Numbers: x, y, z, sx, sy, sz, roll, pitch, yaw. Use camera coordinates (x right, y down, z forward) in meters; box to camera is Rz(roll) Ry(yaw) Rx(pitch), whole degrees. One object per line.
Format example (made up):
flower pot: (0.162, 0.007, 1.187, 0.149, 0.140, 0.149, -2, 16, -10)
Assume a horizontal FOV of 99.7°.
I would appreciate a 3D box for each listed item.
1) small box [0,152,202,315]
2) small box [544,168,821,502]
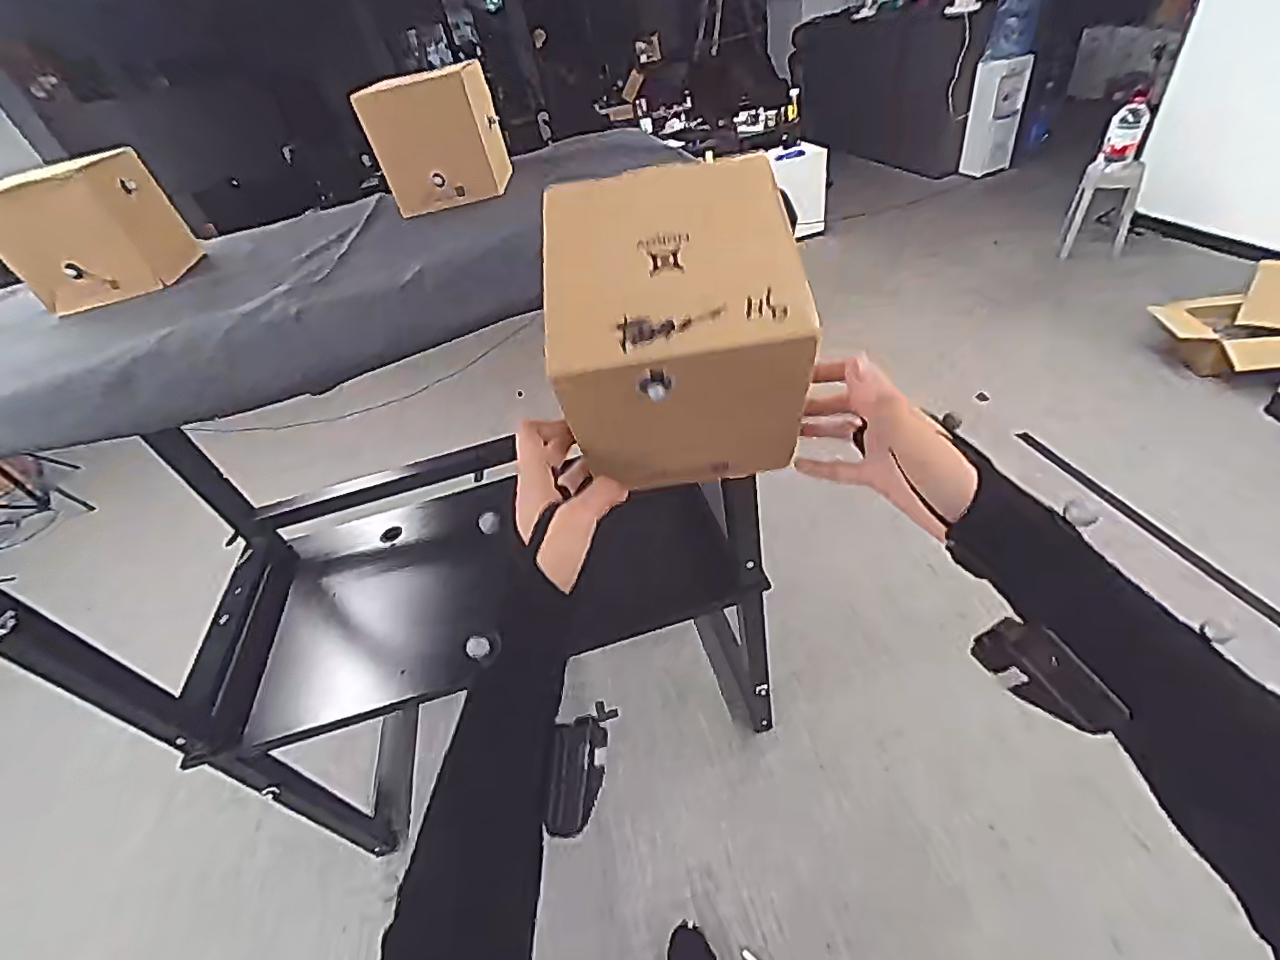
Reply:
small box: (-0.826, -0.375, 0.826, 0.168, 0.176, 0.179, -18, 42, -4)
small box: (0.028, -0.103, 0.425, 0.168, 0.176, 0.179, -8, 62, 5)
